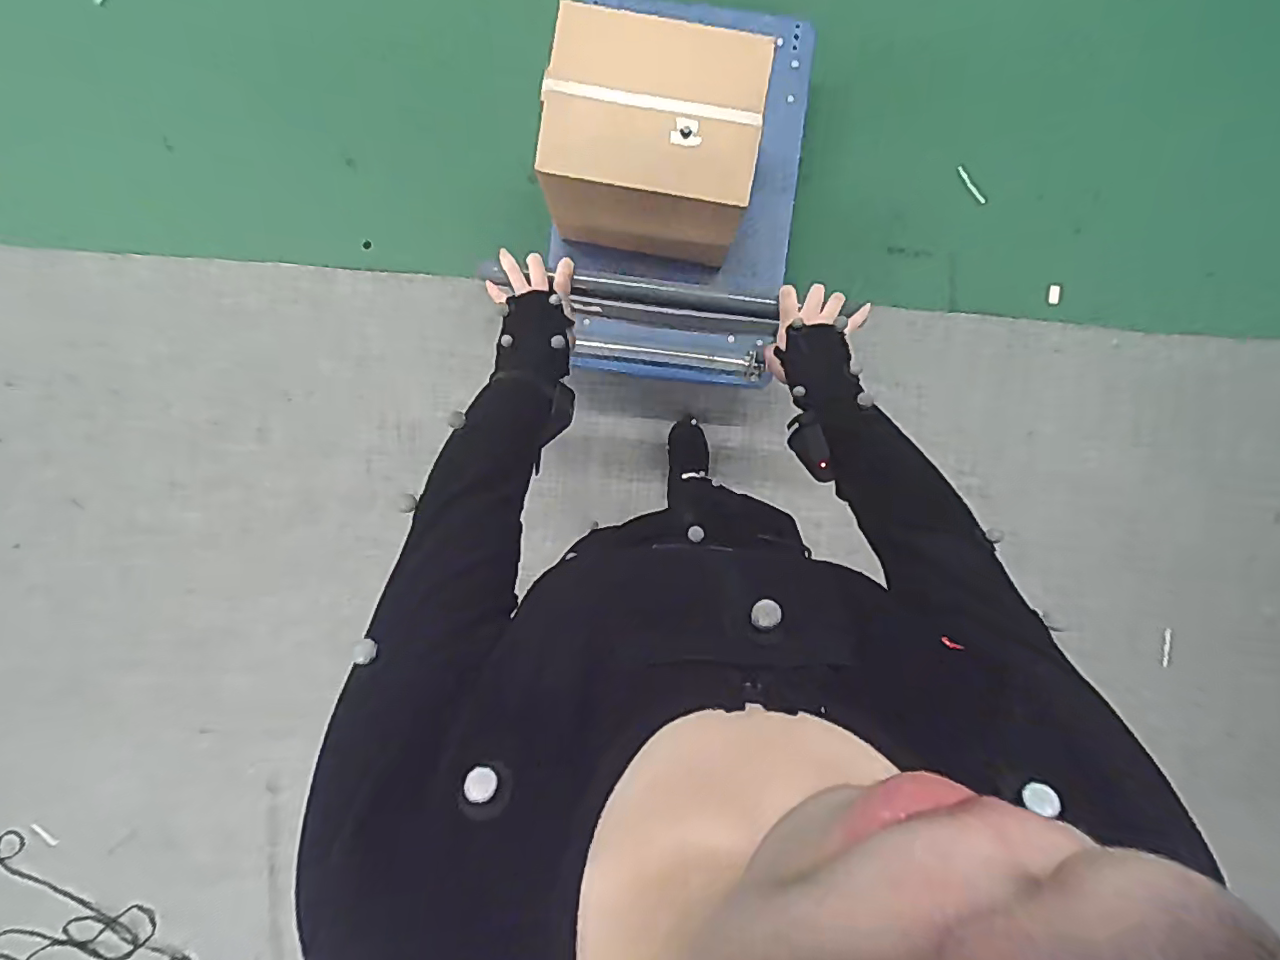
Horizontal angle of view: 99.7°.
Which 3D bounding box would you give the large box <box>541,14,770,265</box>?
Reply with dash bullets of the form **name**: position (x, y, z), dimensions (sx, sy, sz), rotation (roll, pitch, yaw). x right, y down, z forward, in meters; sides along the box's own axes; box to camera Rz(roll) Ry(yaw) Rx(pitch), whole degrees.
- **large box**: position (0.025, -0.698, 1.167), dimensions (0.408, 0.320, 0.320), rotation (9, 92, -1)
